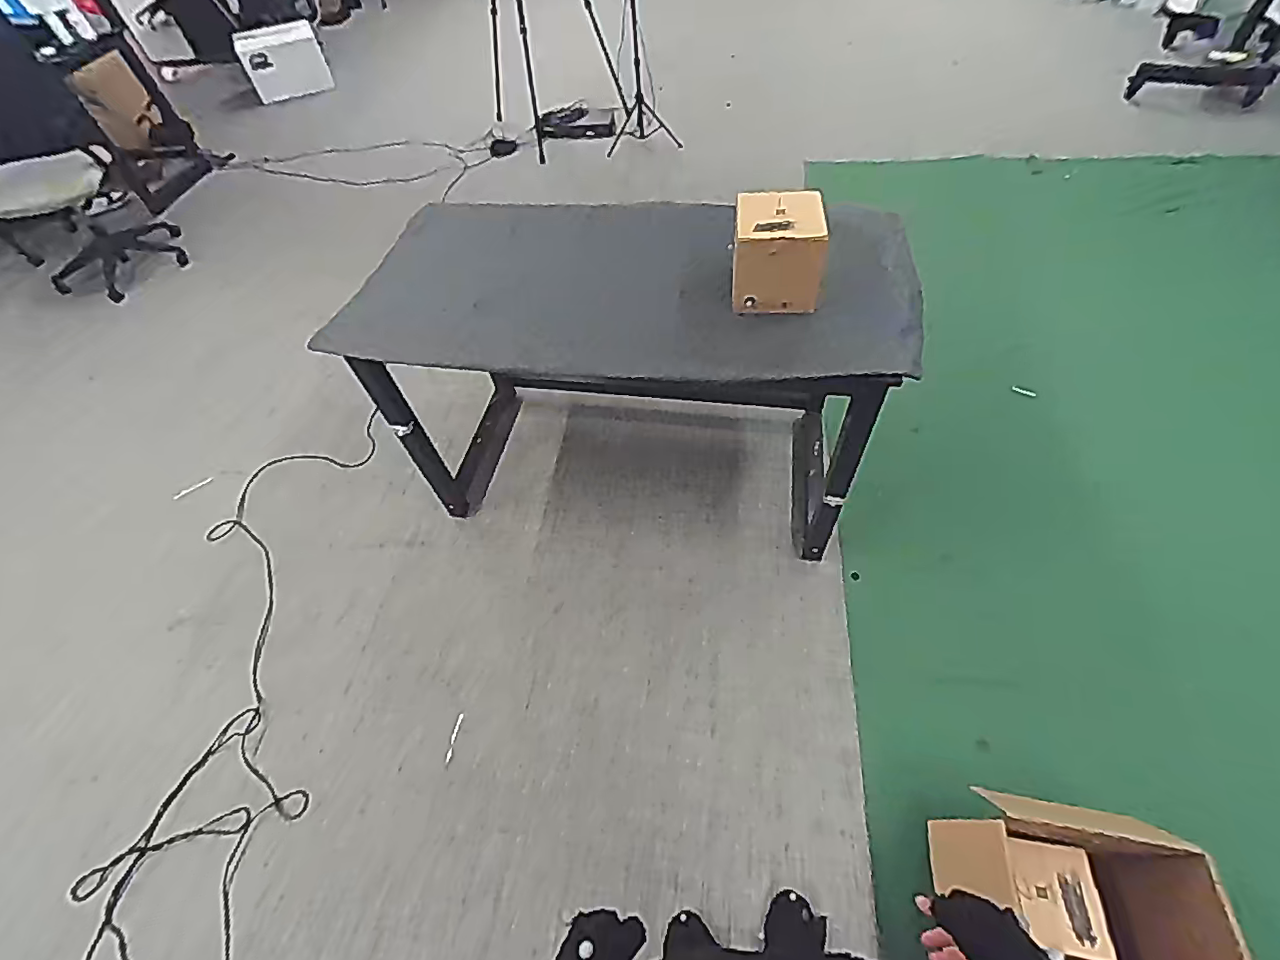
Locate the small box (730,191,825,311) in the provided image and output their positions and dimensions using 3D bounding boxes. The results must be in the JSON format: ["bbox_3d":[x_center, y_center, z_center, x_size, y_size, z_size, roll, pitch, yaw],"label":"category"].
[{"bbox_3d":[0.274,-0.463,1.107,0.168,0.176,0.179,2,53,7],"label":"small box"}]
